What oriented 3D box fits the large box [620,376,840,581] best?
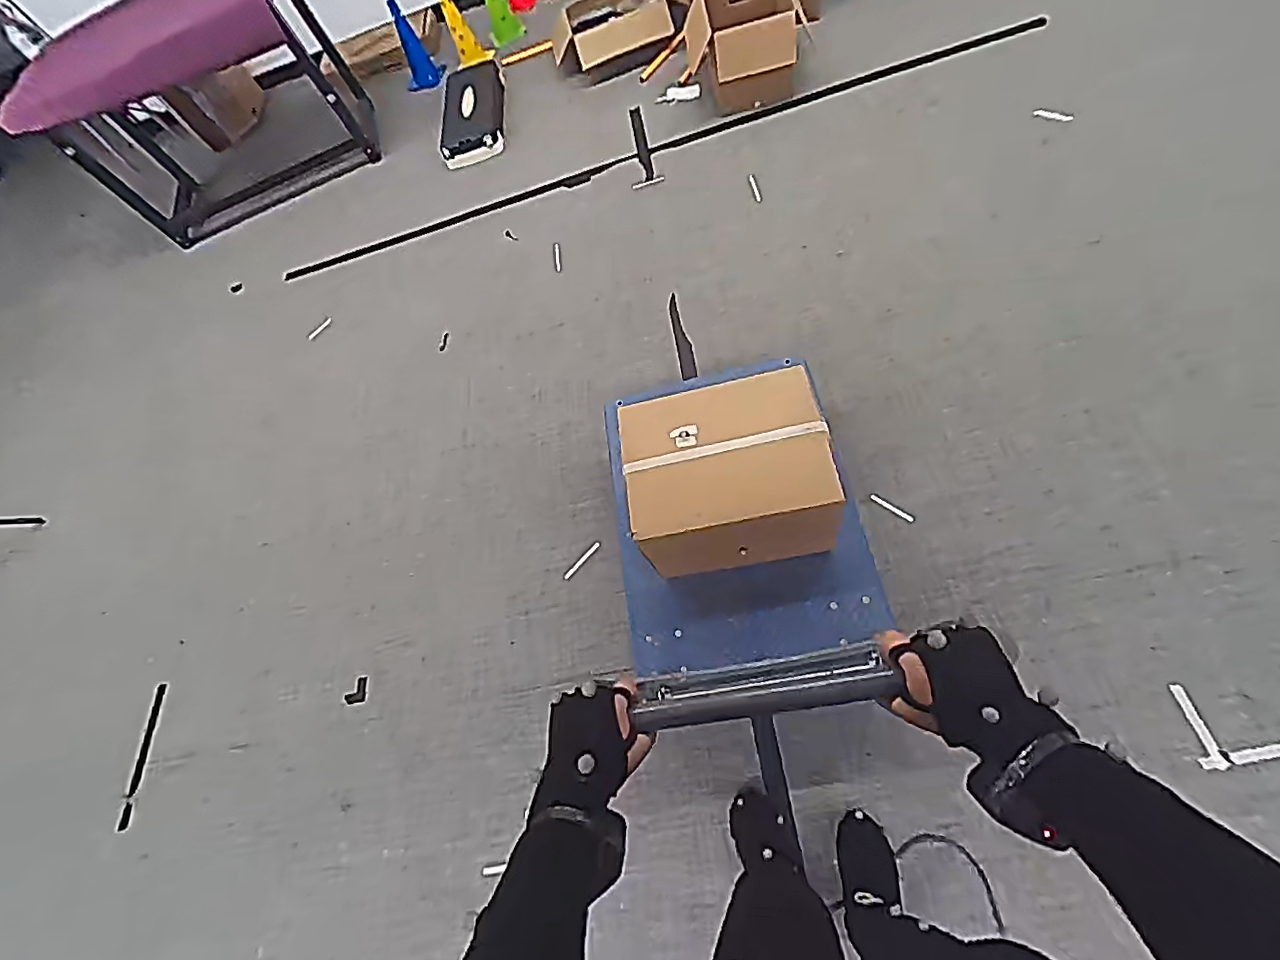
[{"bbox_3d":[0.203,0.017,1.234,0.408,0.320,0.320,-13,63,10],"label":"large box"}]
